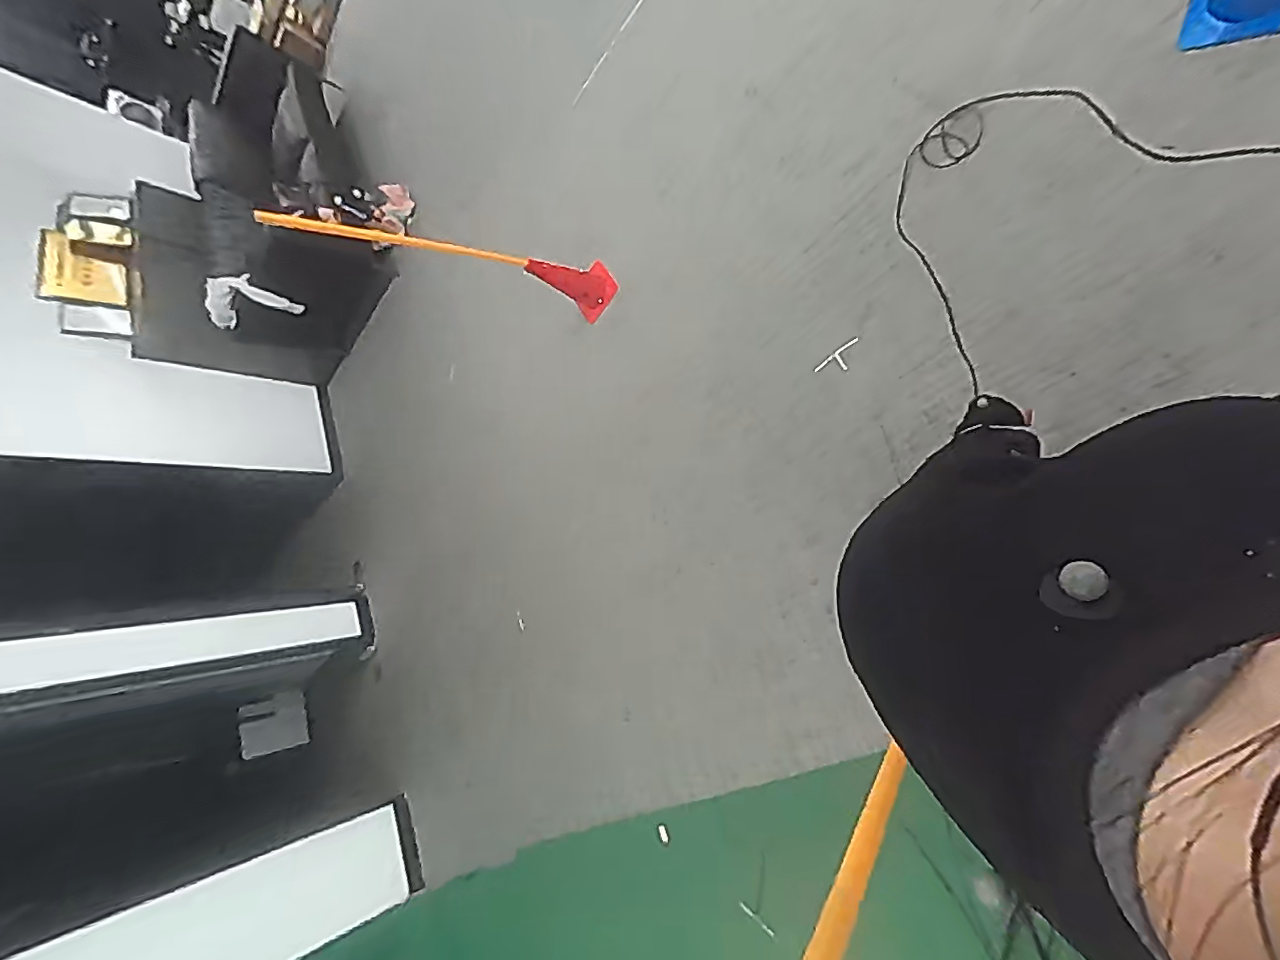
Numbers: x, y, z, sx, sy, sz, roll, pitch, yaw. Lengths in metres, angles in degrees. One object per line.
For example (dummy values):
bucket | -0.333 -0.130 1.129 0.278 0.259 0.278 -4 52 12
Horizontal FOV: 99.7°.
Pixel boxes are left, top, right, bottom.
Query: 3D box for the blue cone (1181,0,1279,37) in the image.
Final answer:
blue cone | 1.082 -0.983 0.918 0.192 0.380 0.193 17 96 41
